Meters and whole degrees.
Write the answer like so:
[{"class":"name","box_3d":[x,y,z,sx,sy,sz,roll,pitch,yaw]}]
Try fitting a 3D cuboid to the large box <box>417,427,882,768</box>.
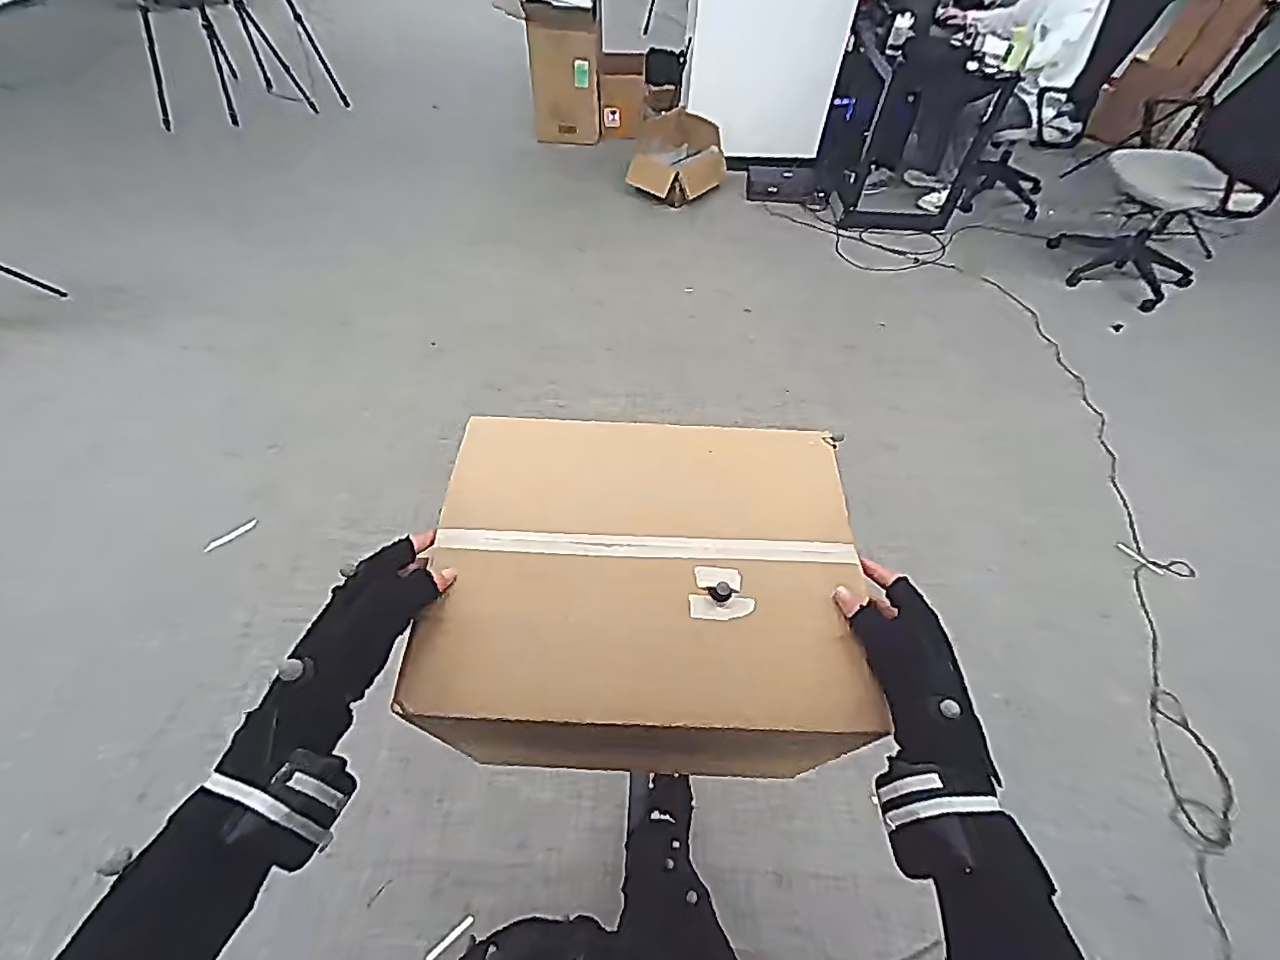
[{"class":"large box","box_3d":[0.005,0.156,0.659,0.408,0.320,0.320,3,56,-1]}]
